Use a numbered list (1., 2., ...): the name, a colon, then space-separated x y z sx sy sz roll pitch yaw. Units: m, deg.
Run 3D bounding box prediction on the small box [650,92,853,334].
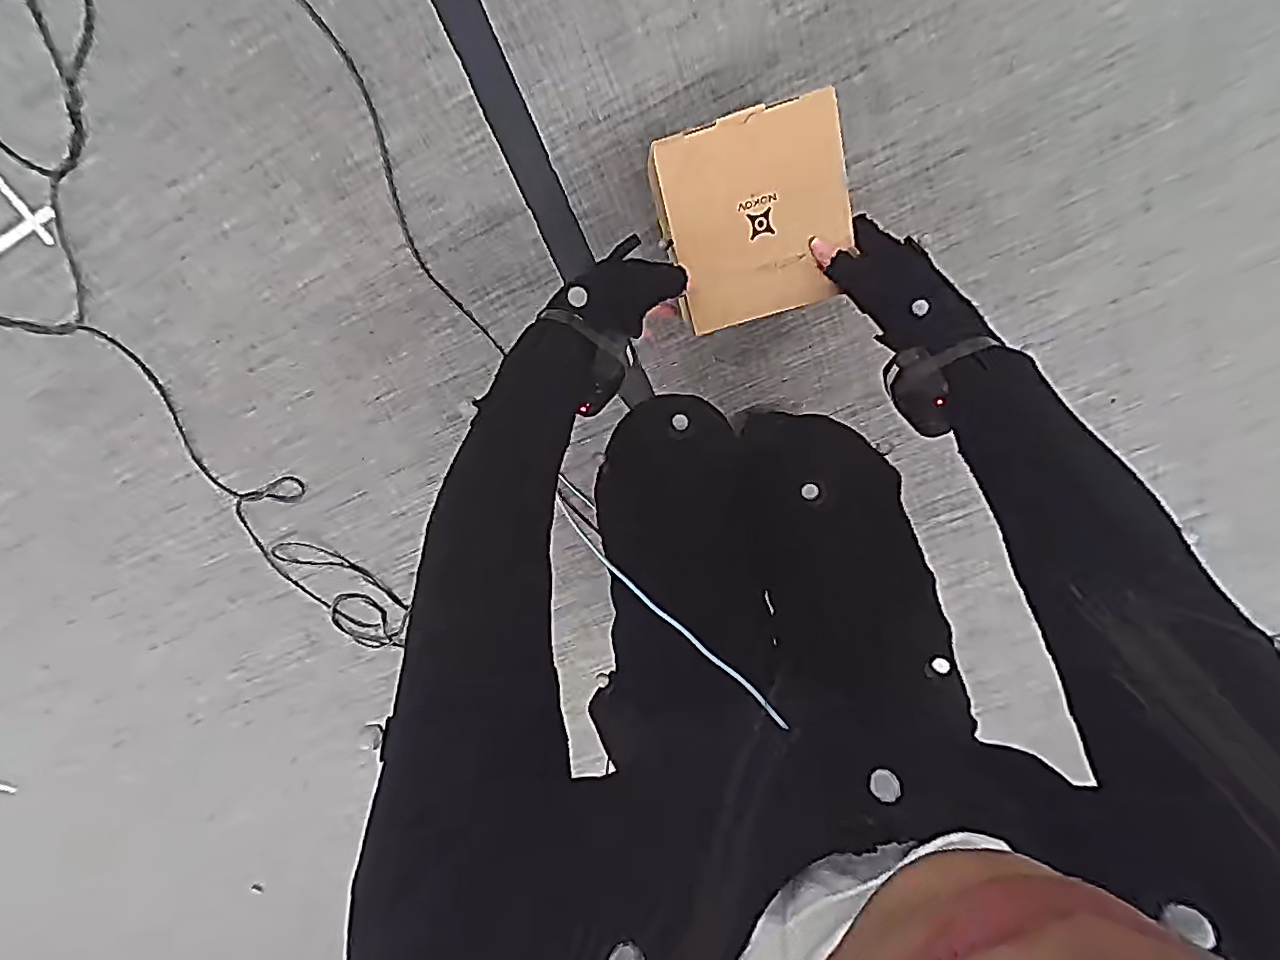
1. small box: 0.108 -0.270 0.581 0.168 0.176 0.179 -14 110 6
